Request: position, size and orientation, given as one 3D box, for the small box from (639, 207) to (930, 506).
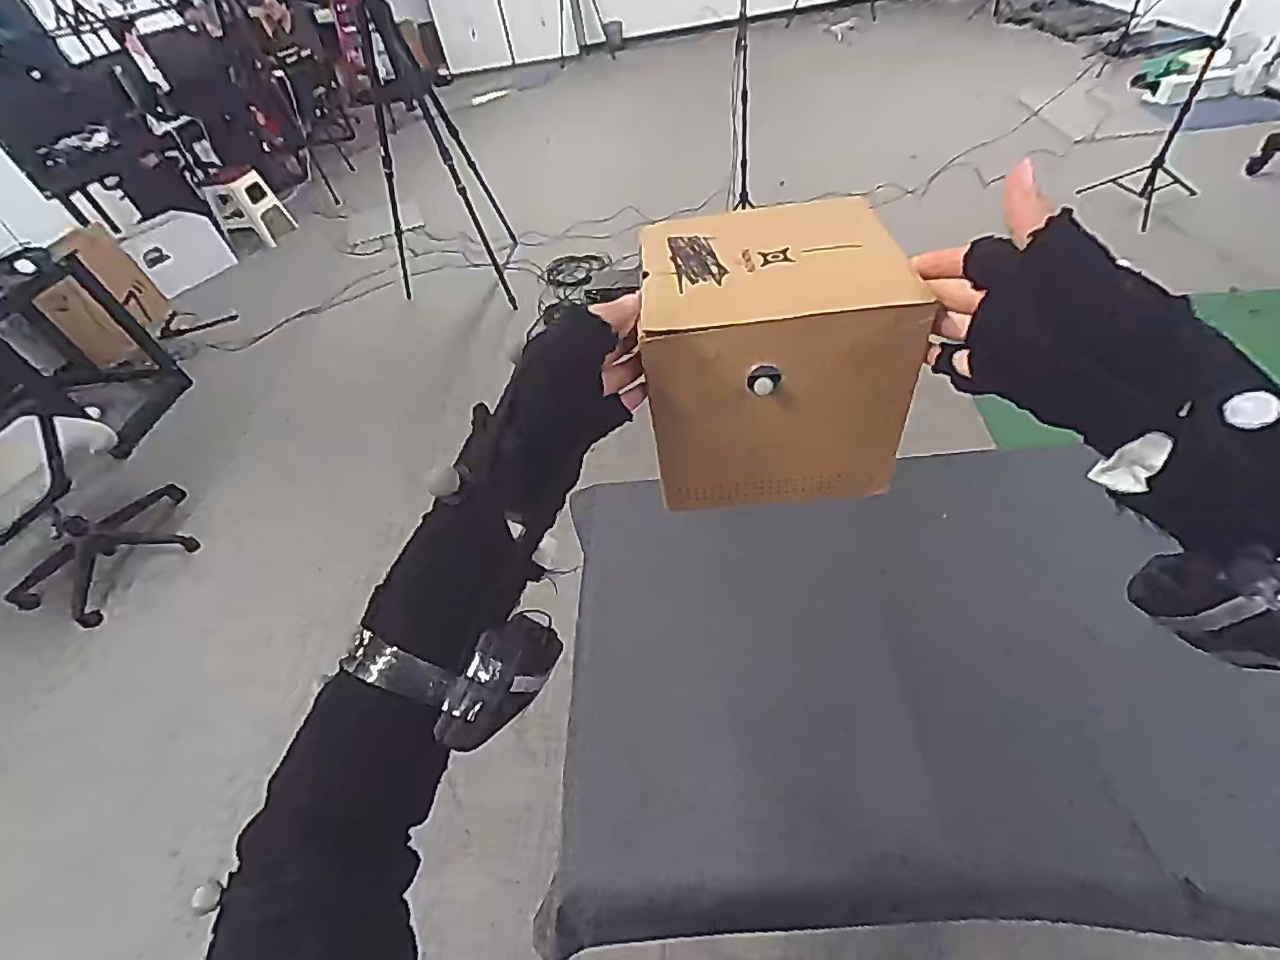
[{"bbox_3d":[0.098,-0.093,0.435,0.179,0.176,0.168,-5,46,5],"label":"small box"}]
